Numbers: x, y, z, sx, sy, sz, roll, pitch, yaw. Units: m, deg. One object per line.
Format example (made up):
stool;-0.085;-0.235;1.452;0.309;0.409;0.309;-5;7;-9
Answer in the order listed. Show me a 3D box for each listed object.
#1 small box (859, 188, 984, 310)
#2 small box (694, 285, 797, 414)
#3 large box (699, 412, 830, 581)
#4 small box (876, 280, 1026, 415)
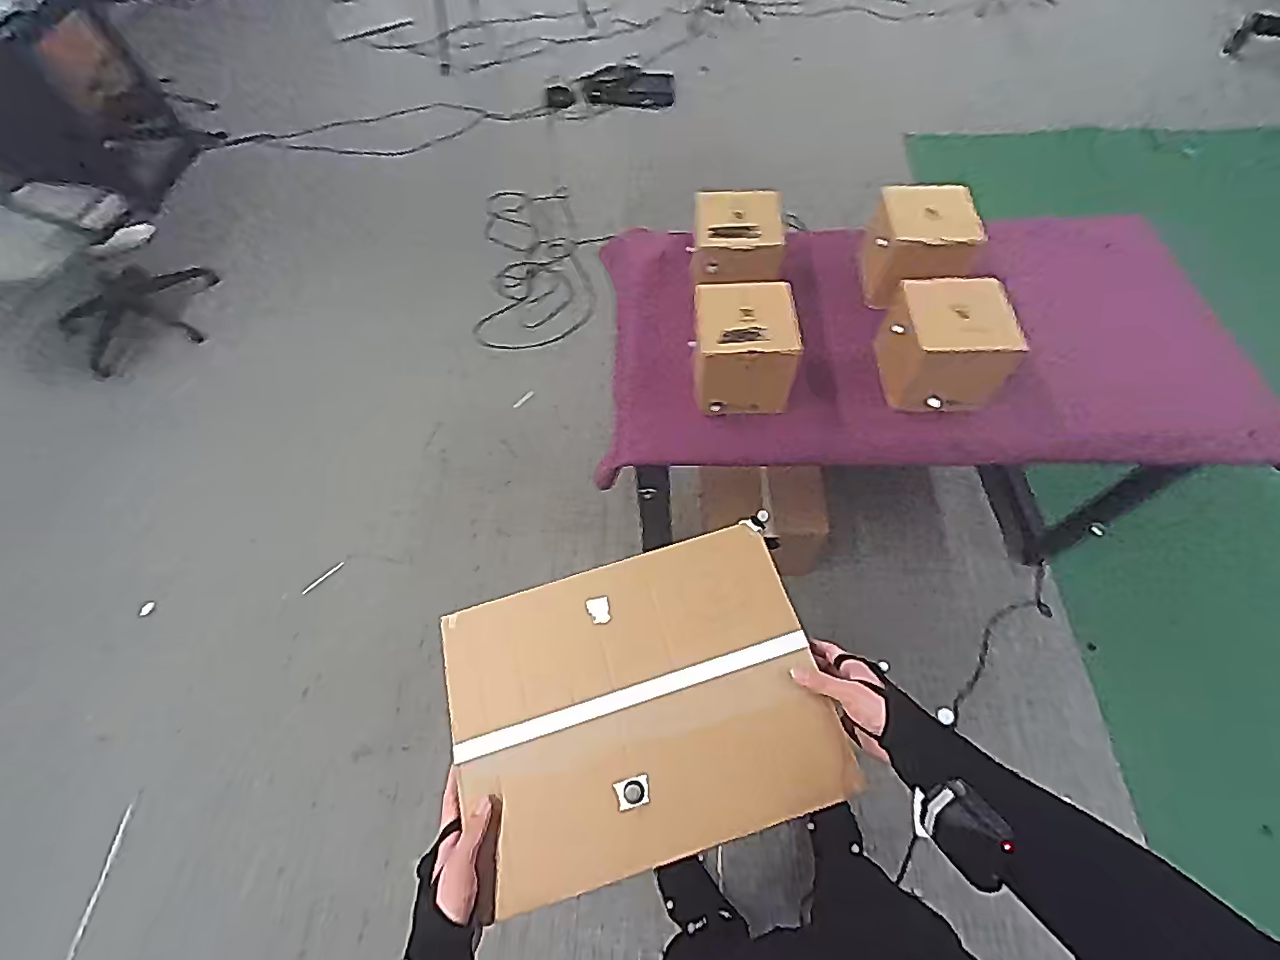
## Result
small box;0.568;-0.475;1.121;0.168;0.176;0.179;1;61;4
small box;0.186;-0.235;1.004;0.168;0.176;0.179;-1;58;3
large box;0.338;0.055;1.594;0.320;0.320;0.408;0;59;3
small box;0.548;-0.238;0.983;0.168;0.176;0.179;0;59;5
